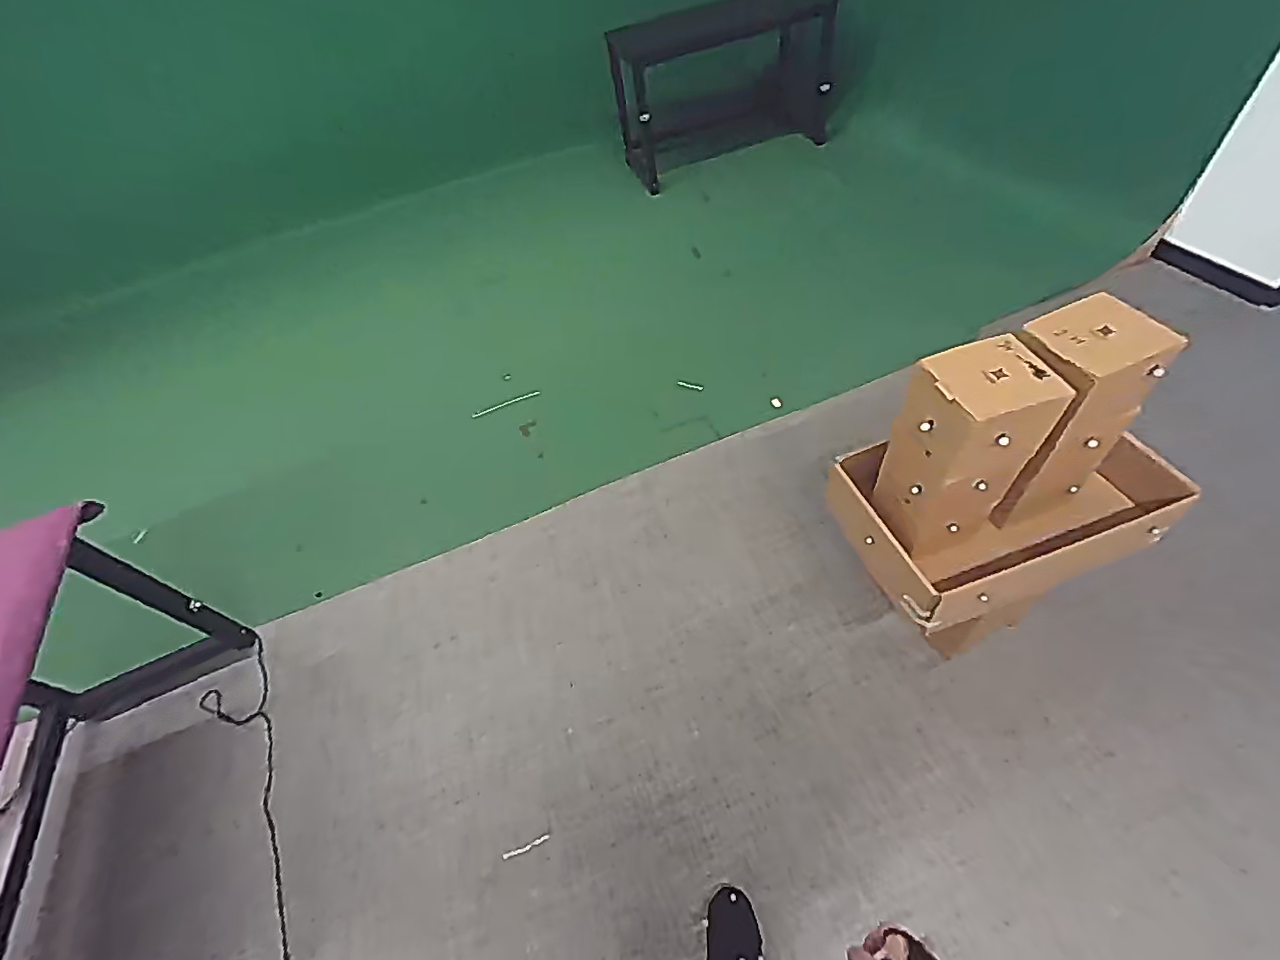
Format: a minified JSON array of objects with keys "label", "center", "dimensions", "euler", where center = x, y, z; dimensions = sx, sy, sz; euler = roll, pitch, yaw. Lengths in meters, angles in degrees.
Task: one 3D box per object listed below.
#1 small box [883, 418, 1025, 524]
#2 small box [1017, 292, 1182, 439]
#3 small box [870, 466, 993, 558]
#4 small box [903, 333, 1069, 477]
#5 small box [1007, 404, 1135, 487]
[{"label":"small box","center":[0.622,-0.033,1.104],"dimensions":[0.179,0.176,0.168],"euler":[-17,53,-3]},{"label":"small box","center":[0.805,-0.207,0.997],"dimensions":[0.179,0.176,0.168],"euler":[-22,52,-3]},{"label":"small box","center":[0.651,0.055,1.238],"dimensions":[0.179,0.176,0.168],"euler":[-18,52,-5]},{"label":"small box","center":[0.600,-0.129,0.973],"dimensions":[0.179,0.176,0.168],"euler":[-16,53,-1]},{"label":"small box","center":[0.849,-0.115,1.129],"dimensions":[0.179,0.176,0.168],"euler":[-21,53,-2]}]
